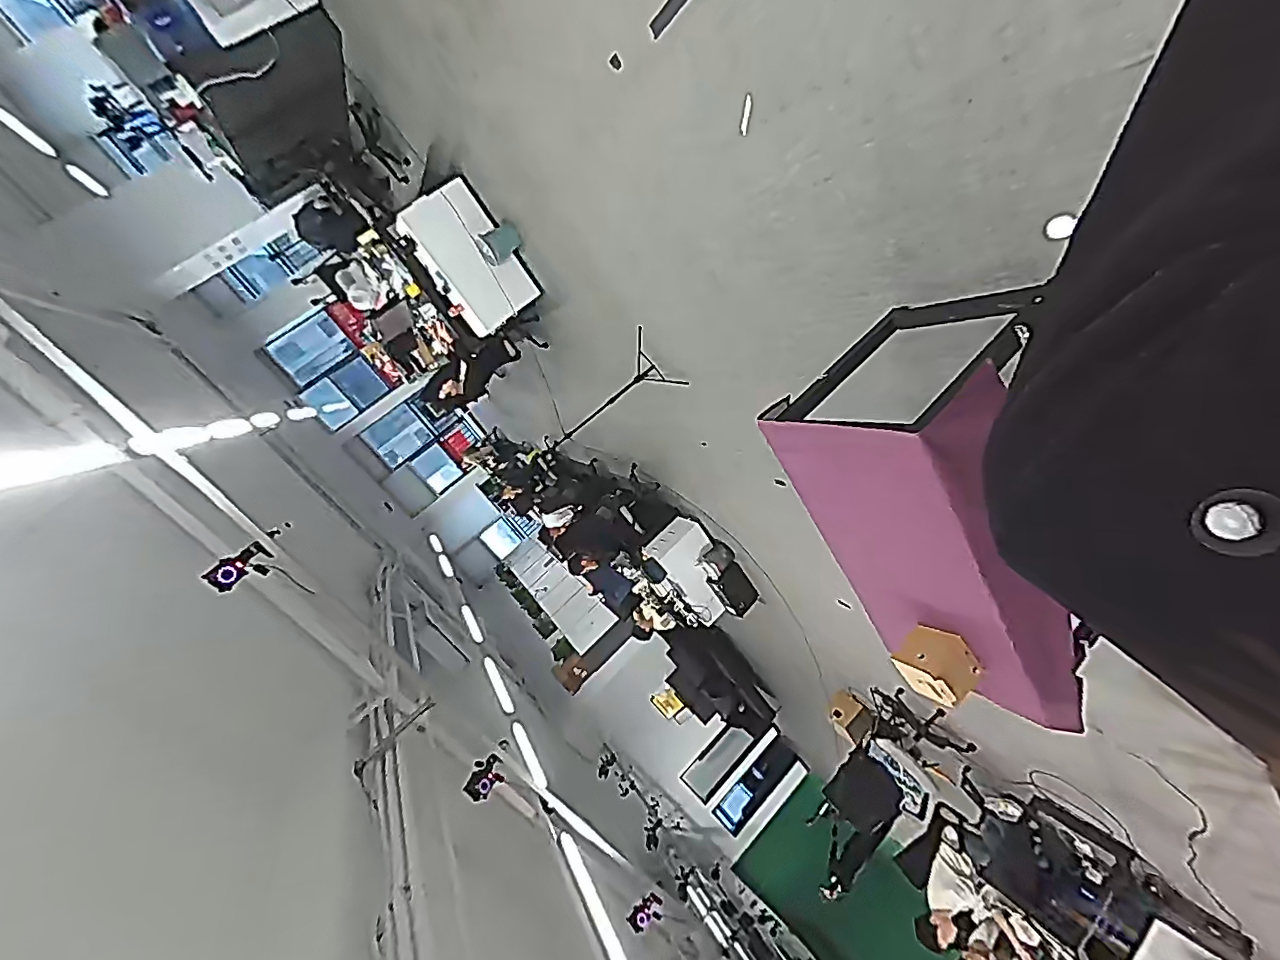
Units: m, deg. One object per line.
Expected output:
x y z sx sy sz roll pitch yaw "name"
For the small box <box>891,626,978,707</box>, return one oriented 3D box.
1.000 0.620 1.826 0.168 0.176 0.179 52 165 -11 "small box"
